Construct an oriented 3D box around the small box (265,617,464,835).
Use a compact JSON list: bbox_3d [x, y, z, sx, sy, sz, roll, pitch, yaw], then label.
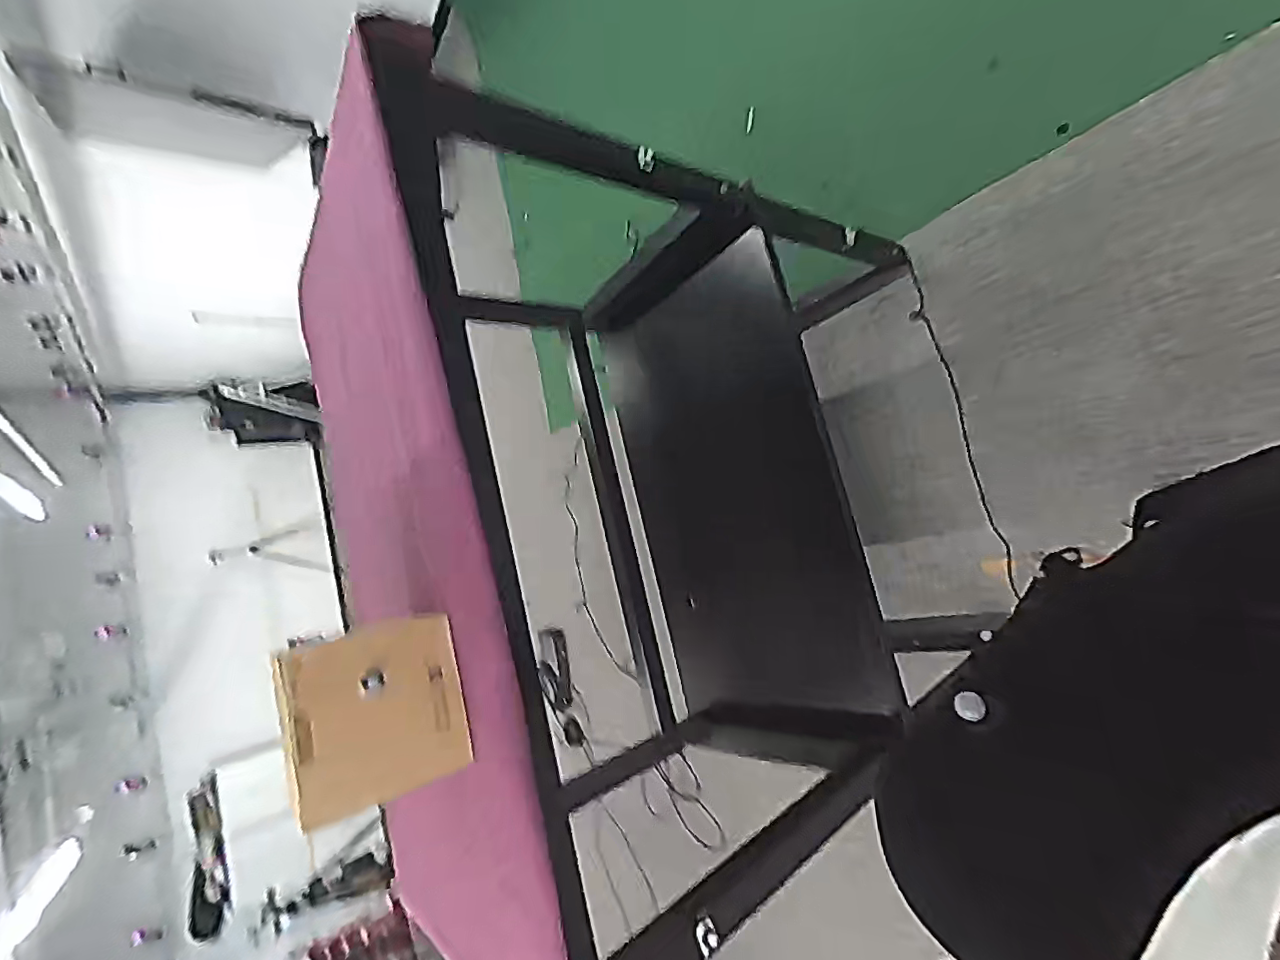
[{"bbox_3d":[-0.313,0.259,0.620,0.179,0.176,0.168,-20,80,52],"label":"small box"}]
